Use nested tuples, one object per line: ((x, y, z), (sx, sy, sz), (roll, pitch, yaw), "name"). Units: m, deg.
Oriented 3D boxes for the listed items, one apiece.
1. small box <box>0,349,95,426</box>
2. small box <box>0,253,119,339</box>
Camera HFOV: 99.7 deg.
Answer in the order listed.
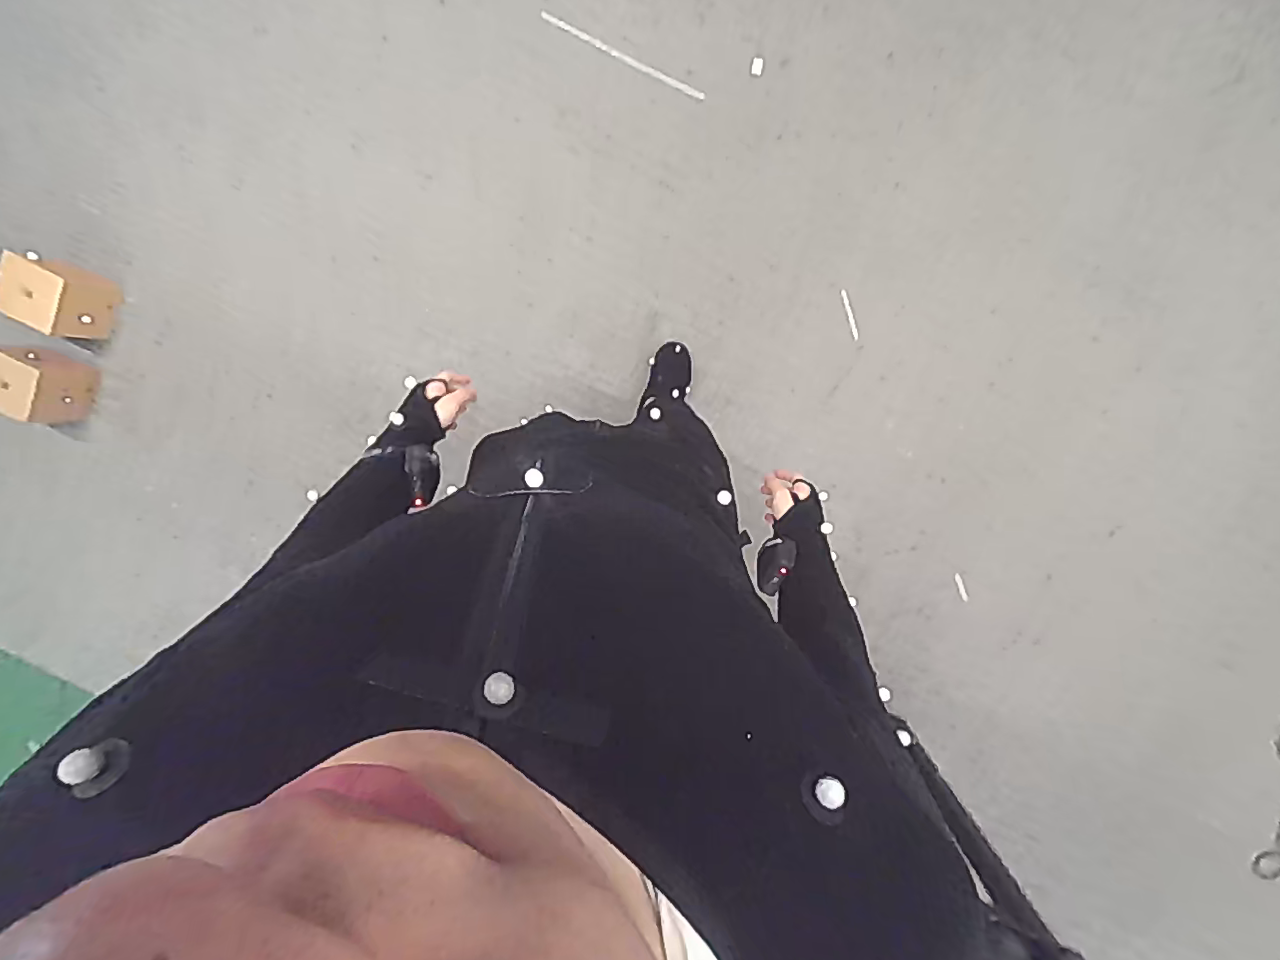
((-1.759, -0.273, 1.571), (0.179, 0.176, 0.168), (27, 100, -2), "small box")
((-1.643, -0.510, 1.525), (0.179, 0.176, 0.168), (27, 101, -2), "small box")
